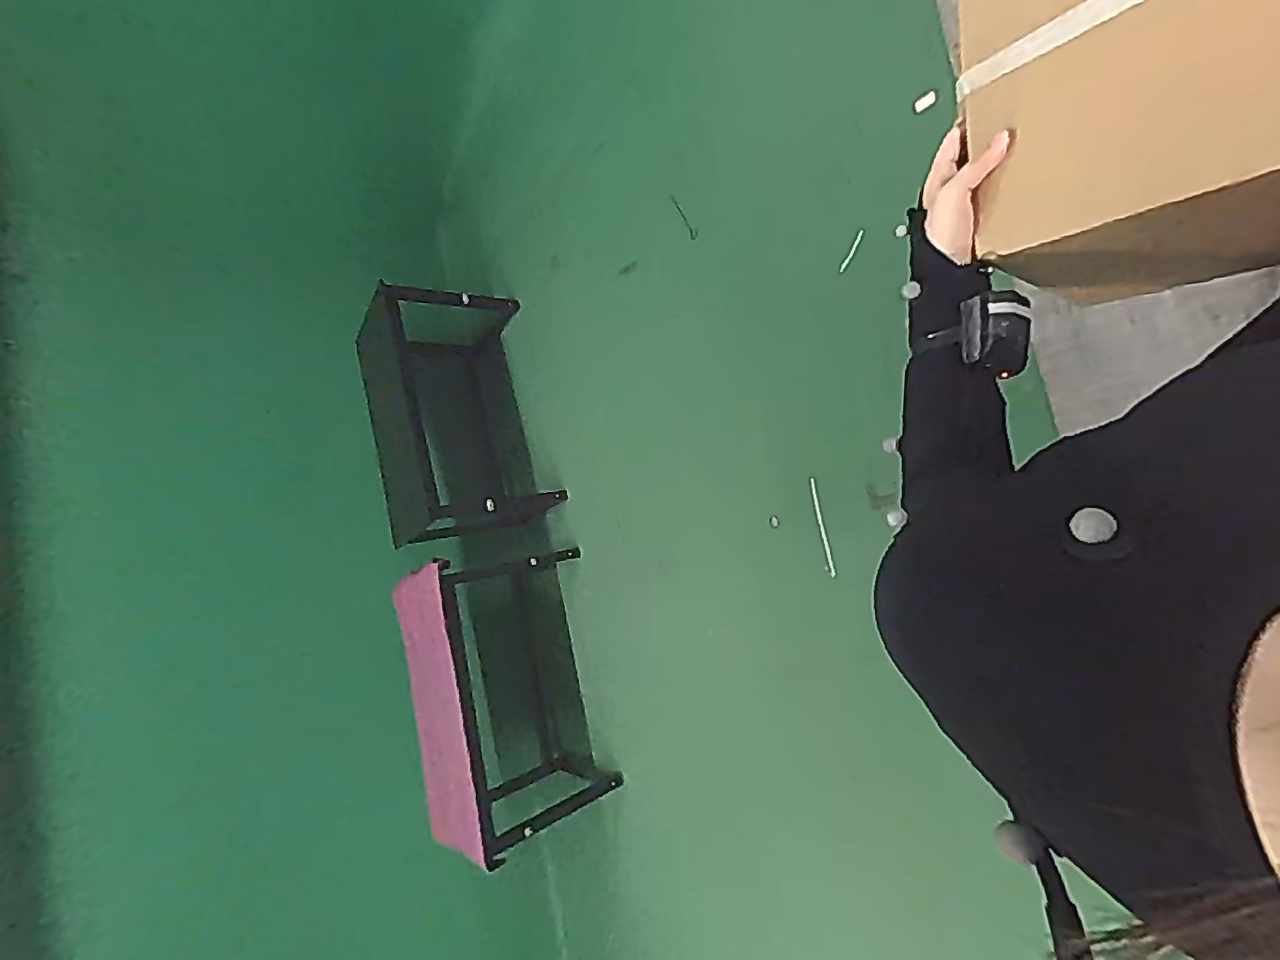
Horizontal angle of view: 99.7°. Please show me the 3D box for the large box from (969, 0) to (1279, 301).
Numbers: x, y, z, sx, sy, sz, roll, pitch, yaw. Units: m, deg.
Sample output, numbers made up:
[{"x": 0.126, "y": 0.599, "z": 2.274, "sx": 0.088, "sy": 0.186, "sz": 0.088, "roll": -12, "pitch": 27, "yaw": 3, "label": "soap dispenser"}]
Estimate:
[{"x": 0.532, "y": -0.370, "z": 0.414, "sx": 0.408, "sy": 0.320, "sz": 0.320, "roll": -4, "pitch": 90, "yaw": 51, "label": "large box"}]
